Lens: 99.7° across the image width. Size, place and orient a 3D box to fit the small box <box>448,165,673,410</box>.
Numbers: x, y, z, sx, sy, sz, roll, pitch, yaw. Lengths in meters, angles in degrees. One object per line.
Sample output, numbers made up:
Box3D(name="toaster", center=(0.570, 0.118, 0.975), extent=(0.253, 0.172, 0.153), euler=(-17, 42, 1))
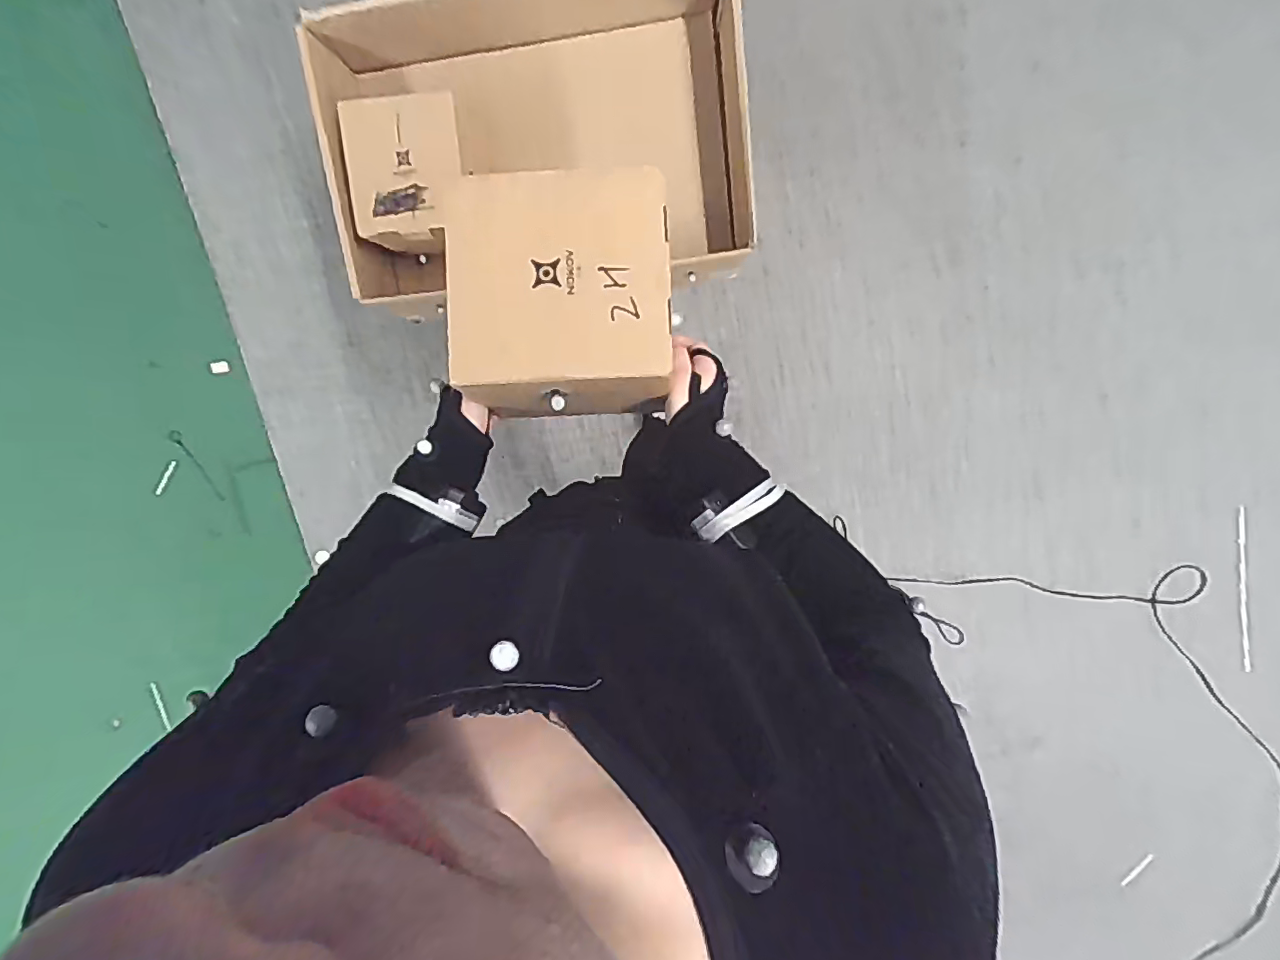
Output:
Box3D(name="small box", center=(-0.061, -0.160, 0.501), extent=(0.179, 0.176, 0.168), euler=(-2, 88, 0))
